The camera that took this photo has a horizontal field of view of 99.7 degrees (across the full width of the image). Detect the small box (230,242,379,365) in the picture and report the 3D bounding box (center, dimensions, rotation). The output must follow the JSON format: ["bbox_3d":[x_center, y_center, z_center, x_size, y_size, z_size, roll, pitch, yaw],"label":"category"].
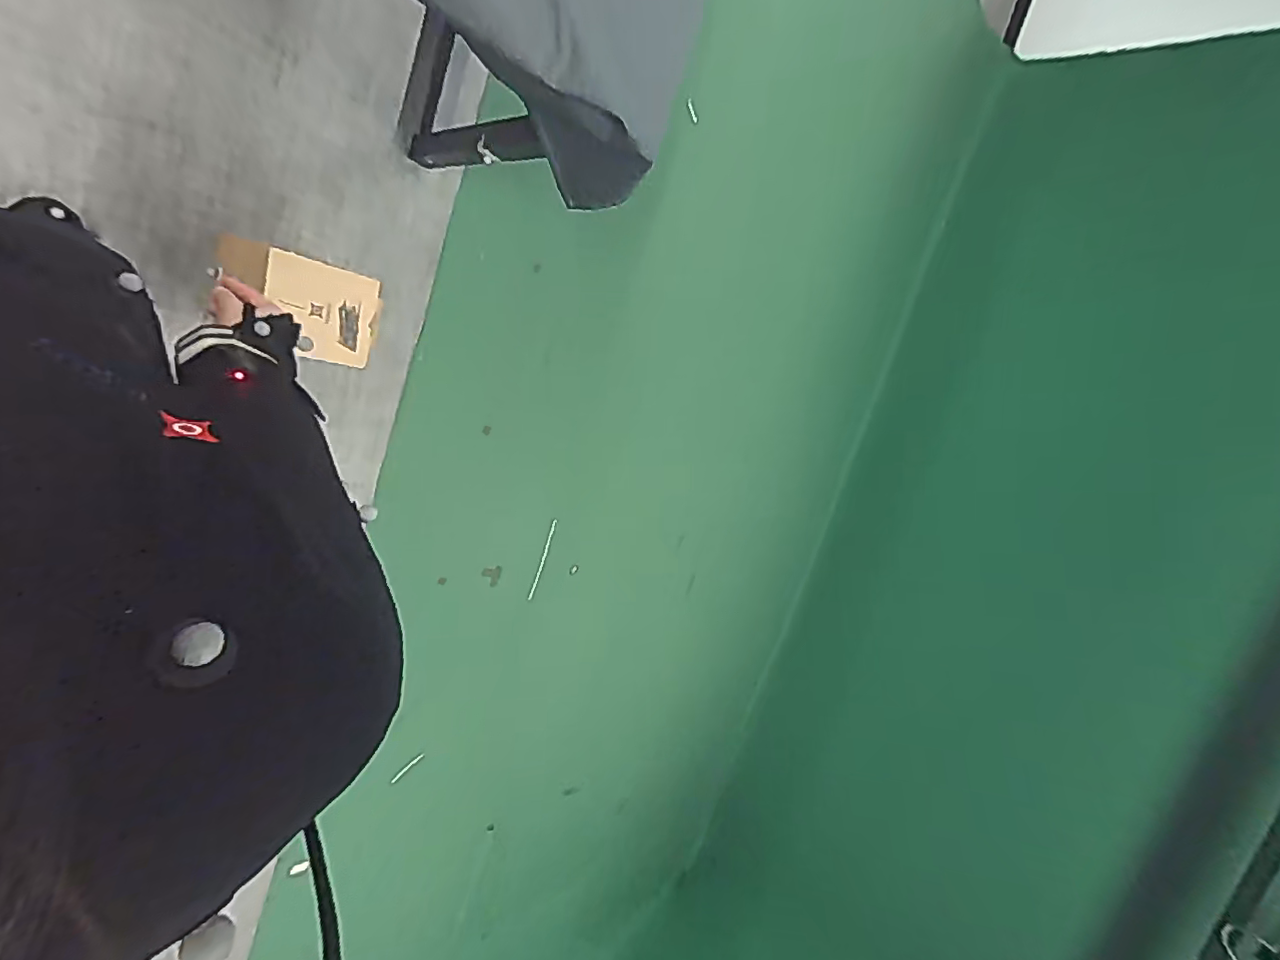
[{"bbox_3d":[-0.608,-0.320,0.977,0.179,0.176,0.168,4,106,-49],"label":"small box"}]

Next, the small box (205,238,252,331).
[{"bbox_3d":[-0.730,-0.371,1.074,0.179,0.176,0.168,4,105,-49],"label":"small box"}]
